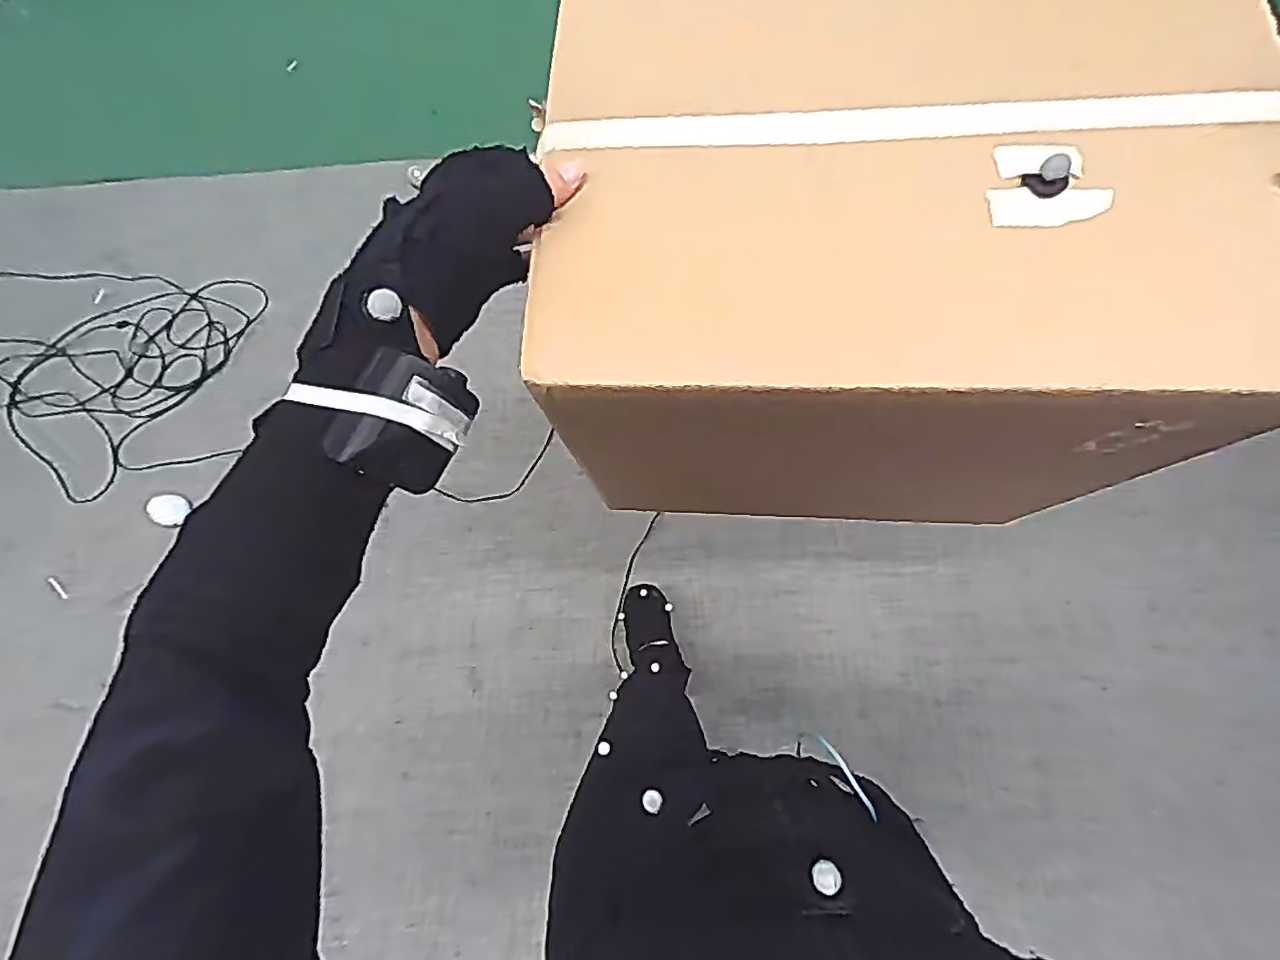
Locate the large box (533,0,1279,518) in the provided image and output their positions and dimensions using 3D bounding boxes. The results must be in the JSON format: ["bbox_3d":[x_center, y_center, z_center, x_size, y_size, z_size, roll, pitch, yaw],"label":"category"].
[{"bbox_3d":[0.151,-0.149,0.466,0.408,0.320,0.320,1,75,6],"label":"large box"}]
